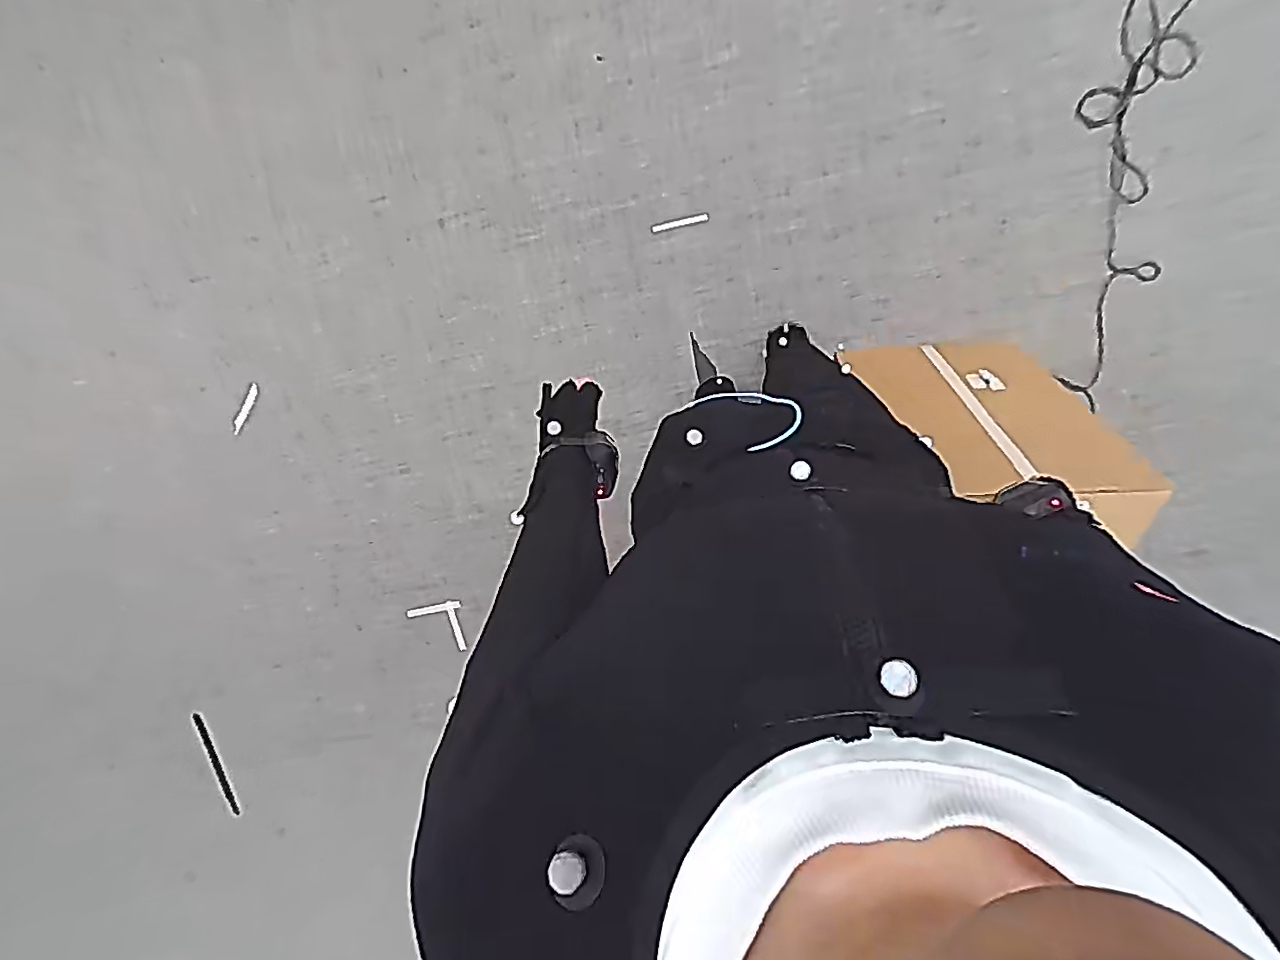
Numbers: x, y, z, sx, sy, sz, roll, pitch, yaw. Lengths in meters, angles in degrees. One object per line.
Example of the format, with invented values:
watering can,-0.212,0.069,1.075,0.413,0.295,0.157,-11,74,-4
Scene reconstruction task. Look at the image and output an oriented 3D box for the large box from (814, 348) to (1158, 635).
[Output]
large box,0.514,0.008,0.928,0.320,0.408,0.320,-1,128,3
